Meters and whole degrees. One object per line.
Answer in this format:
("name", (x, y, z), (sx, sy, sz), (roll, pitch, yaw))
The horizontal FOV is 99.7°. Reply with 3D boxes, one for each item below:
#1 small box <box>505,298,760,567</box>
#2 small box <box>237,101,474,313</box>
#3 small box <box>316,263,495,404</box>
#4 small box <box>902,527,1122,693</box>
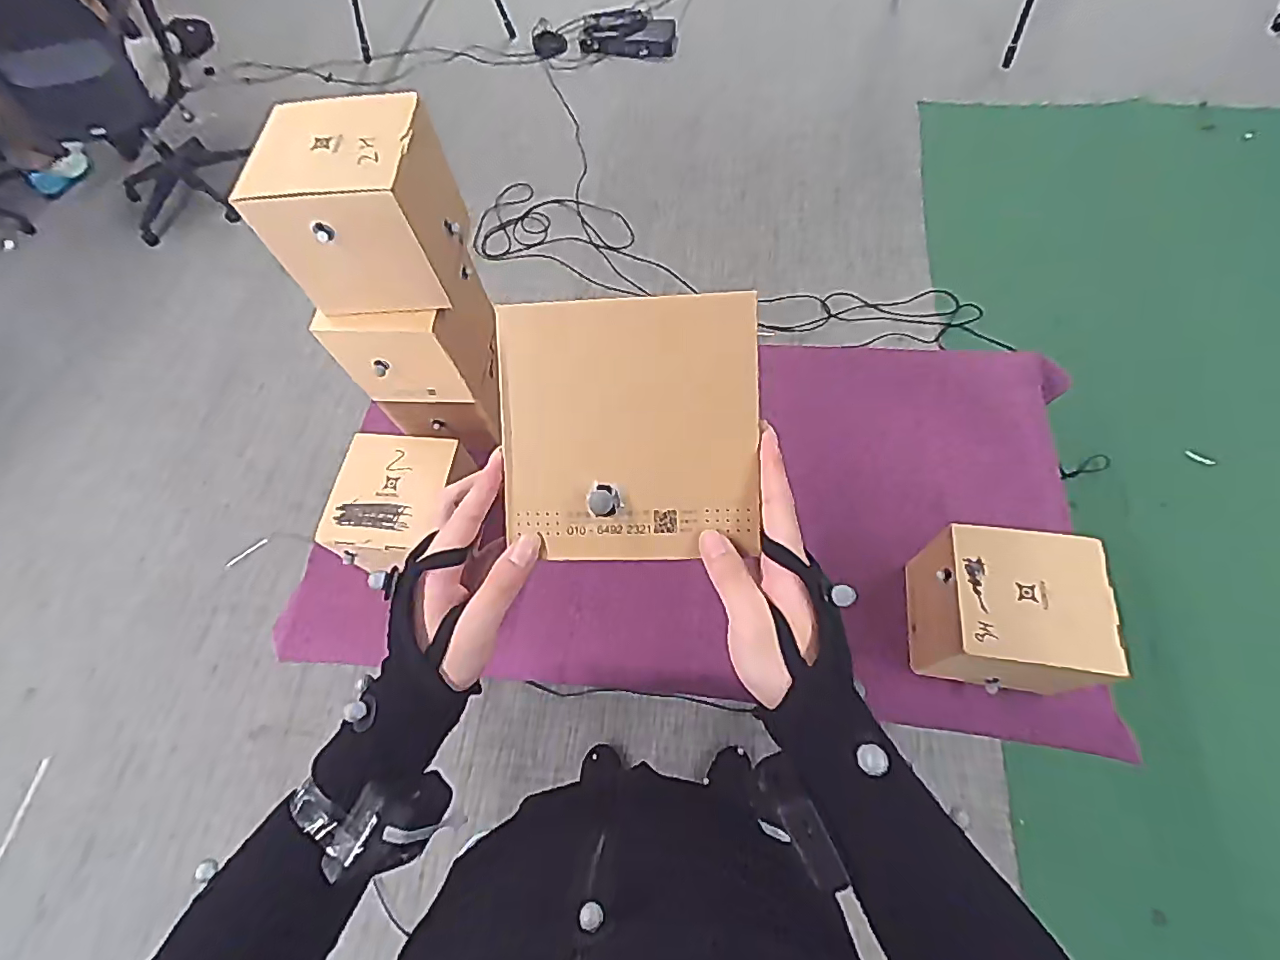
("small box", (0.001, -0.032, 0.426), (0.168, 0.179, 0.176), (-2, 93, 5))
("small box", (-0.324, -0.321, 0.658), (0.179, 0.176, 0.168), (-1, 64, 3))
("small box", (-0.327, -0.227, 0.795), (0.168, 0.176, 0.179), (2, 64, 5))
("small box", (0.471, 0.179, 0.717), (0.179, 0.176, 0.168), (7, 63, 8))
